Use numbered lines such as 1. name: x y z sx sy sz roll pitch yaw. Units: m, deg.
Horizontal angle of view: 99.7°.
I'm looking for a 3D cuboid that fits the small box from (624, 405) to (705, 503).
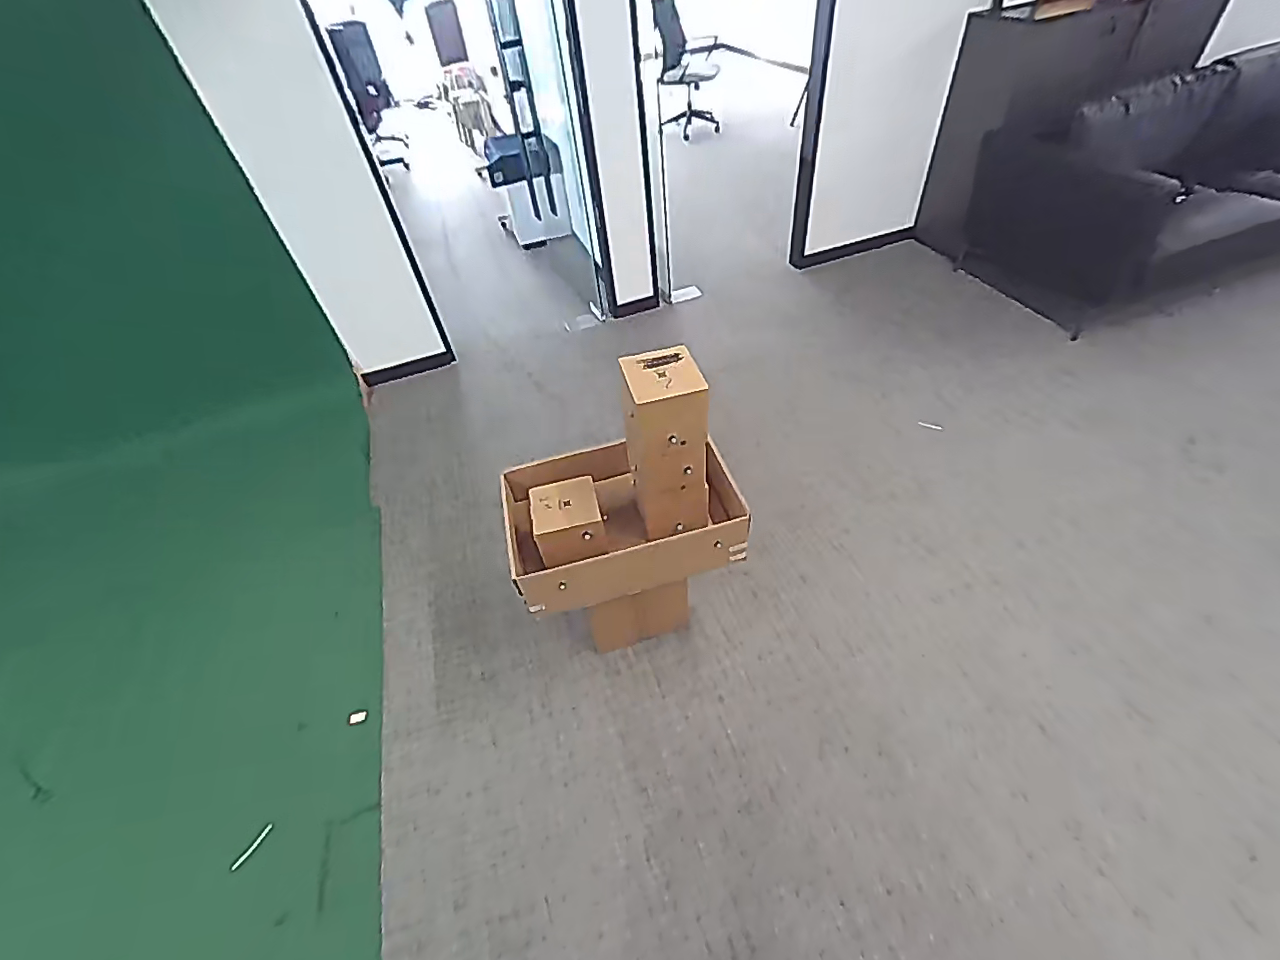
1. small box: 0.064 -0.060 1.380 0.168 0.176 0.179 -13 46 -7
